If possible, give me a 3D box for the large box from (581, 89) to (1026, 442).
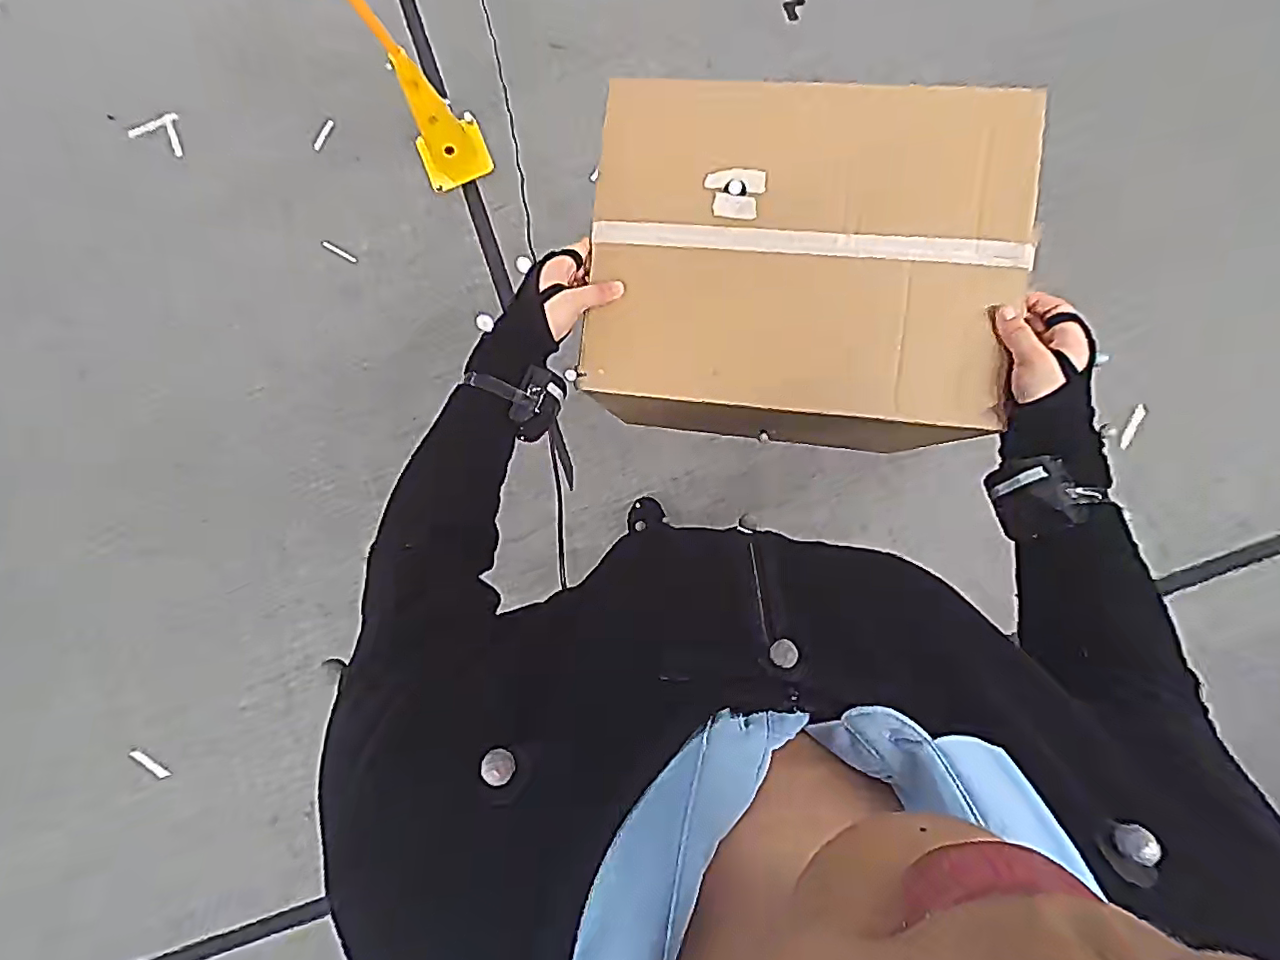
[{"bbox_3d":[0.171,-0.223,0.672,0.408,0.320,0.320,6,89,9],"label":"large box"}]
